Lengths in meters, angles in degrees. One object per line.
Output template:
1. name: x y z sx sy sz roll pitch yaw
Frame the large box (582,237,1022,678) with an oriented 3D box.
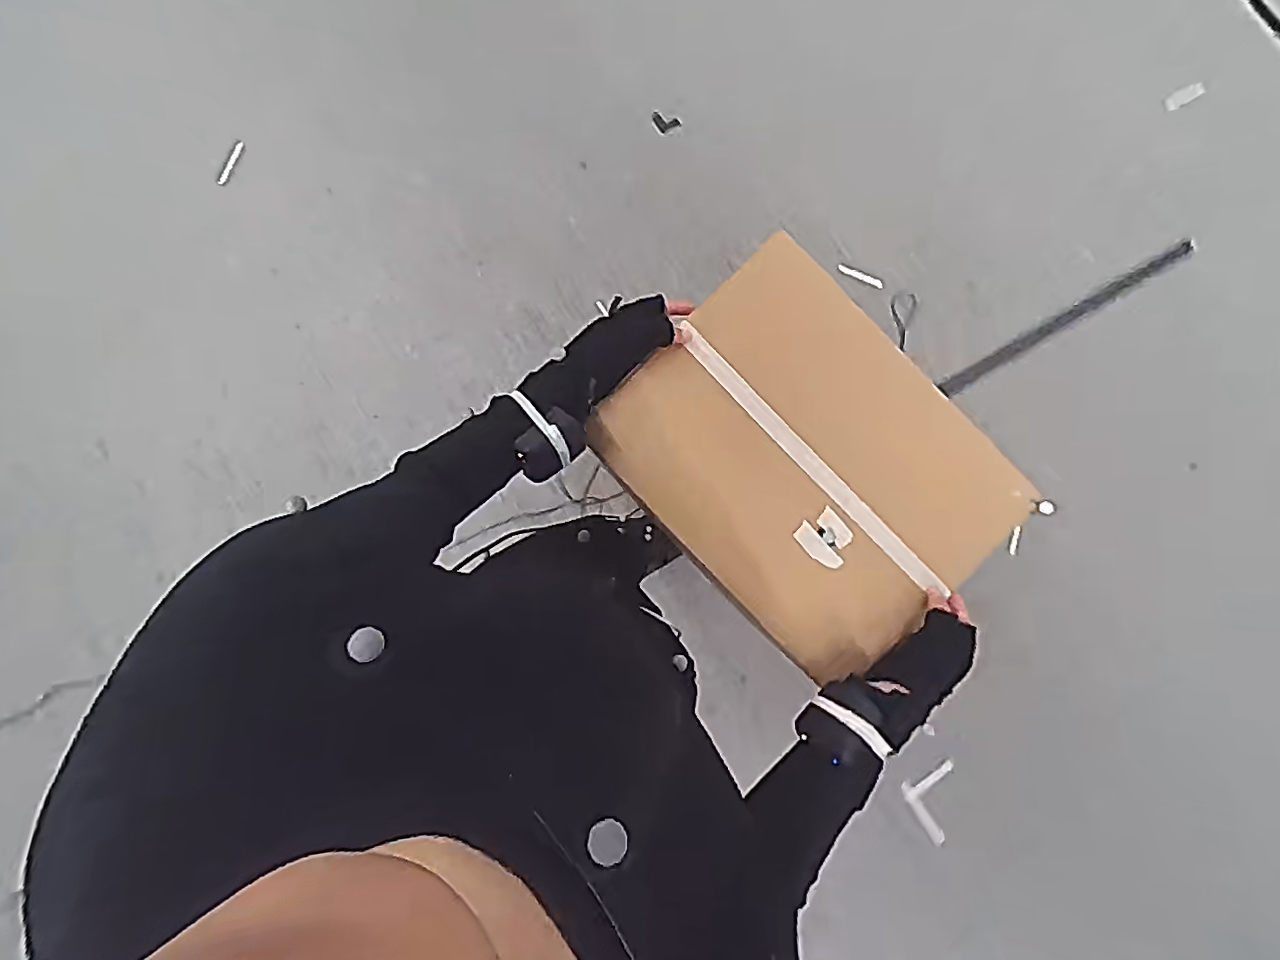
1. large box: 0.173 -0.024 0.740 0.320 0.320 0.408 -44 90 -2
